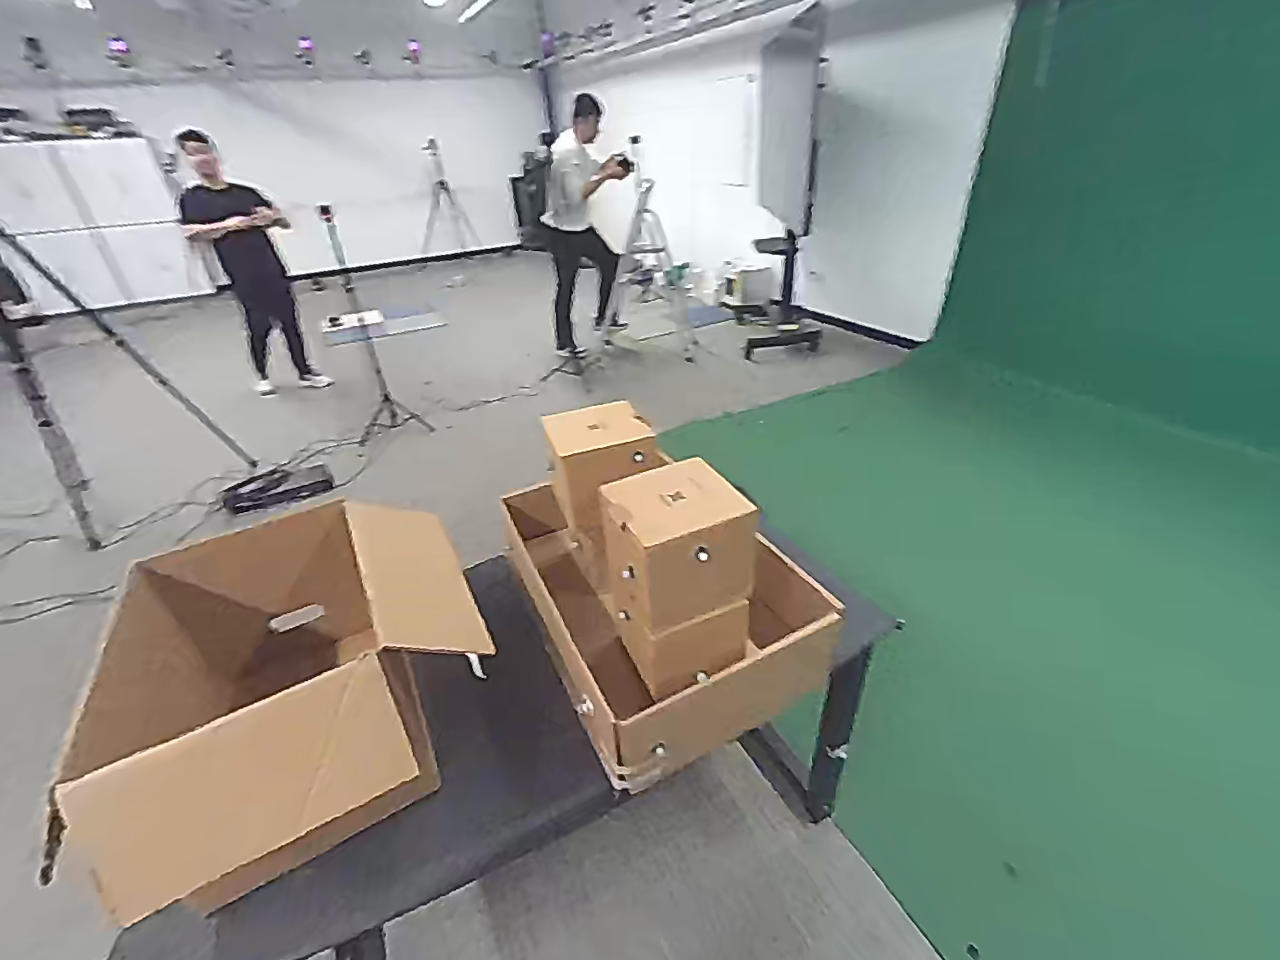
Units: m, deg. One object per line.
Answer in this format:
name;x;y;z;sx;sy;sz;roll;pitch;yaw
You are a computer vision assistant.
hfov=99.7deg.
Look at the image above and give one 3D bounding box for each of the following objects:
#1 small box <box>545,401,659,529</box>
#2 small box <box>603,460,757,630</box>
small box;-0.068;-0.029;1.024;0.179;0.176;0.168;-13;35;-15
small box;0.059;0.096;0.821;0.179;0.176;0.168;-16;36;-19
